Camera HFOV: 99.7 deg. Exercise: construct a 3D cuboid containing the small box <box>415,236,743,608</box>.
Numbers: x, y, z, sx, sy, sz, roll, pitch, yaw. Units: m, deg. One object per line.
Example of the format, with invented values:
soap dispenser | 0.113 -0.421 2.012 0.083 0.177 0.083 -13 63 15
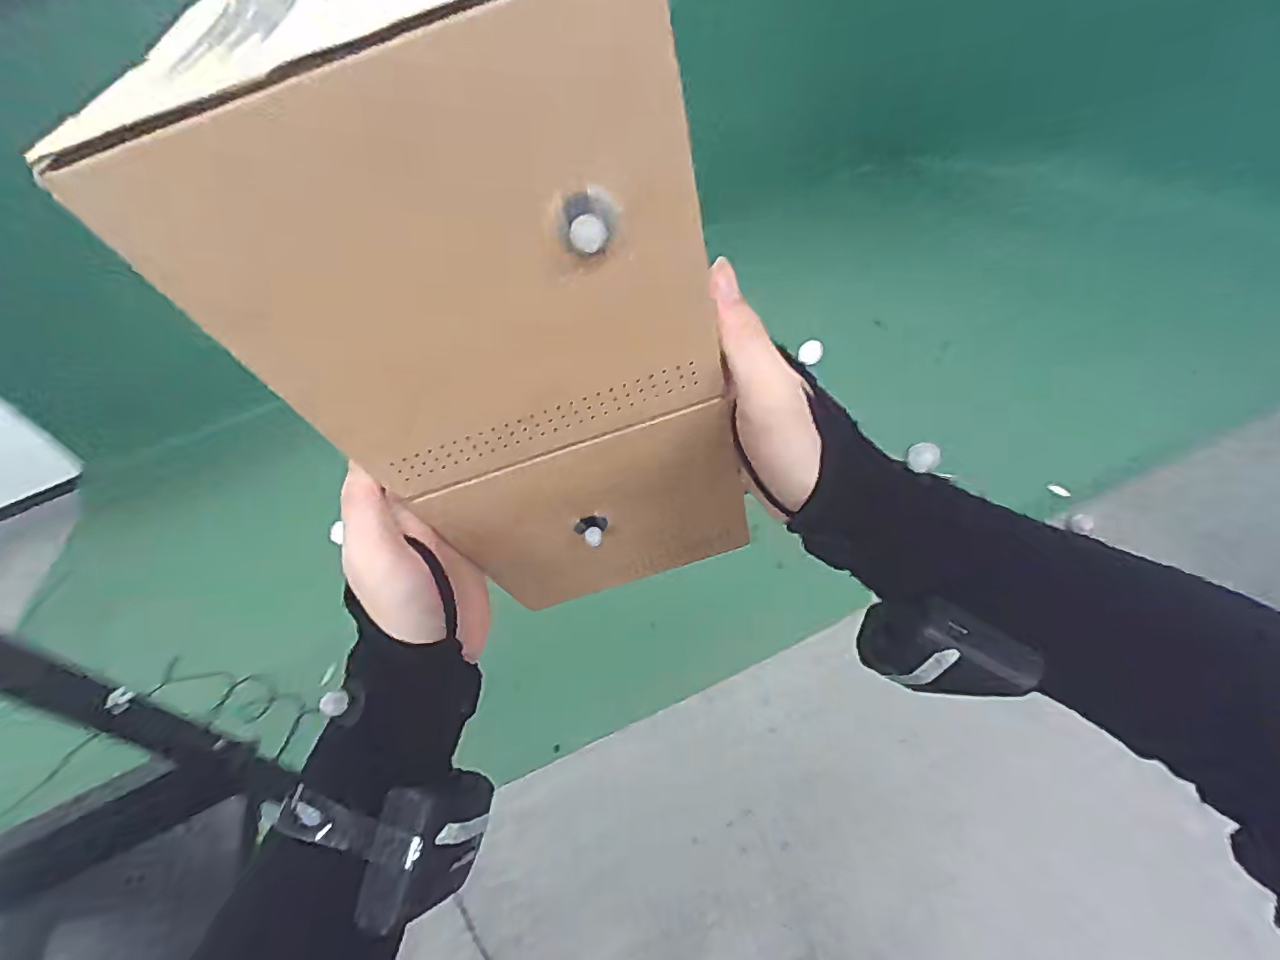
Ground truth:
small box | -0.032 -0.030 0.385 0.179 0.176 0.168 -18 54 5
